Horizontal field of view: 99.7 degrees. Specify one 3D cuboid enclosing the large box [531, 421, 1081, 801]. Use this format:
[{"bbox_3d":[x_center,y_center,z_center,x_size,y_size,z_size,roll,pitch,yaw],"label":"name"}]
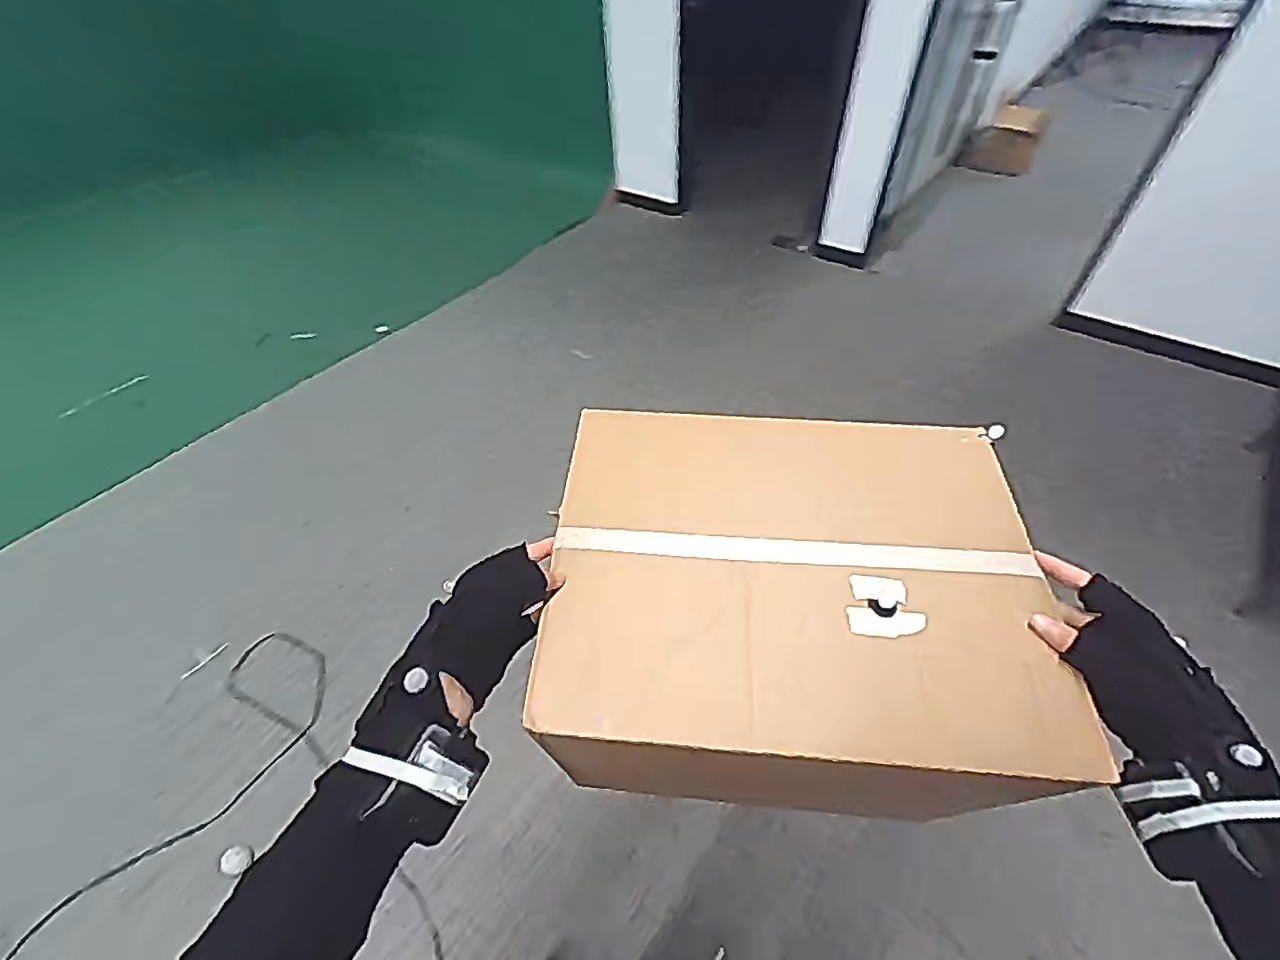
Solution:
[{"bbox_3d":[0.124,0.152,0.595,0.408,0.320,0.320,2,55,3],"label":"large box"}]
